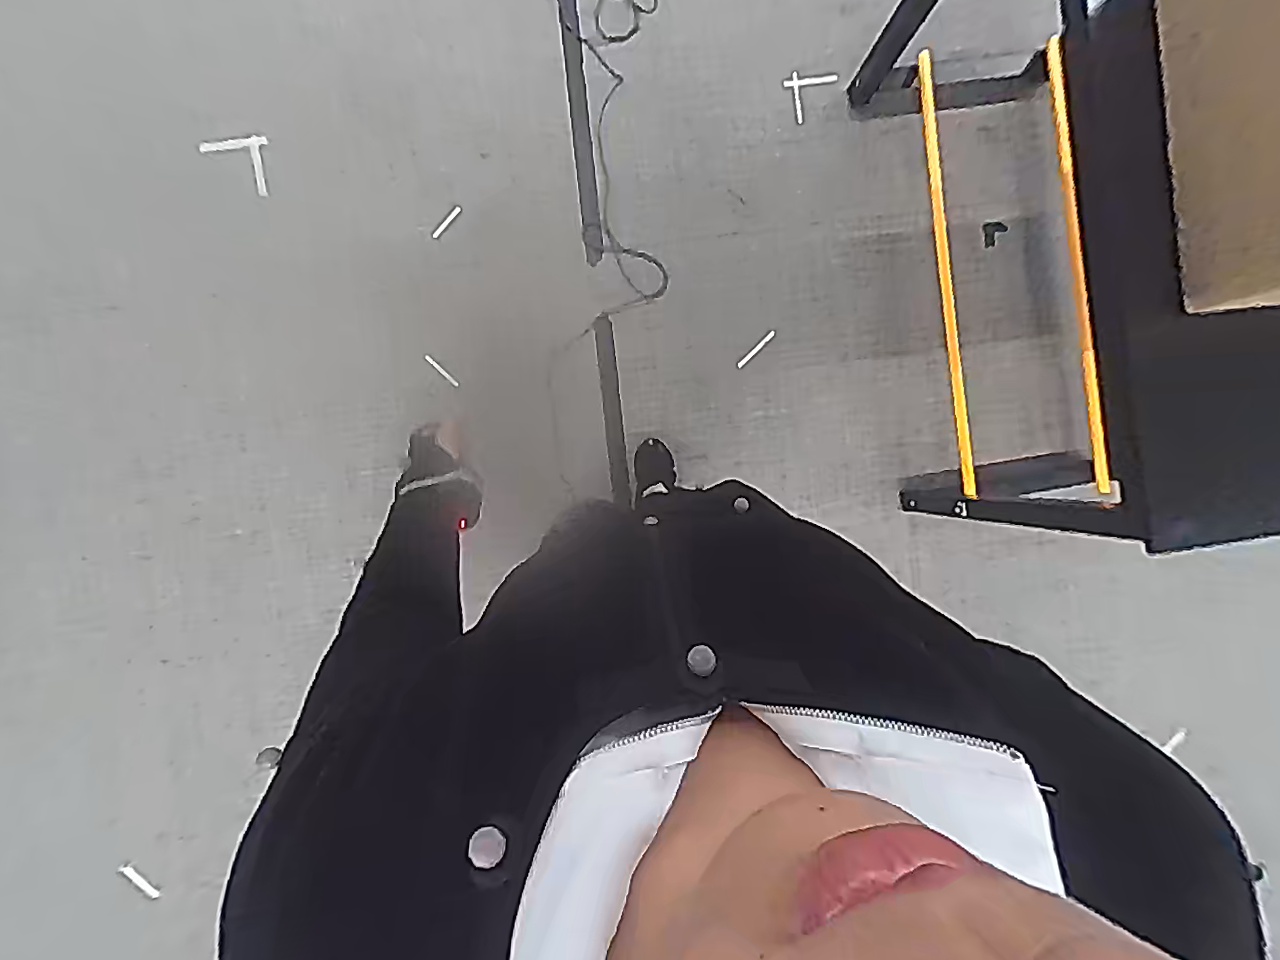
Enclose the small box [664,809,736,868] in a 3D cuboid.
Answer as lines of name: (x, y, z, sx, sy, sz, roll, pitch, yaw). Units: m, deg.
small box: (0.160, 1.015, 1.432, 0.168, 0.176, 0.179, -7, 90, -3)
